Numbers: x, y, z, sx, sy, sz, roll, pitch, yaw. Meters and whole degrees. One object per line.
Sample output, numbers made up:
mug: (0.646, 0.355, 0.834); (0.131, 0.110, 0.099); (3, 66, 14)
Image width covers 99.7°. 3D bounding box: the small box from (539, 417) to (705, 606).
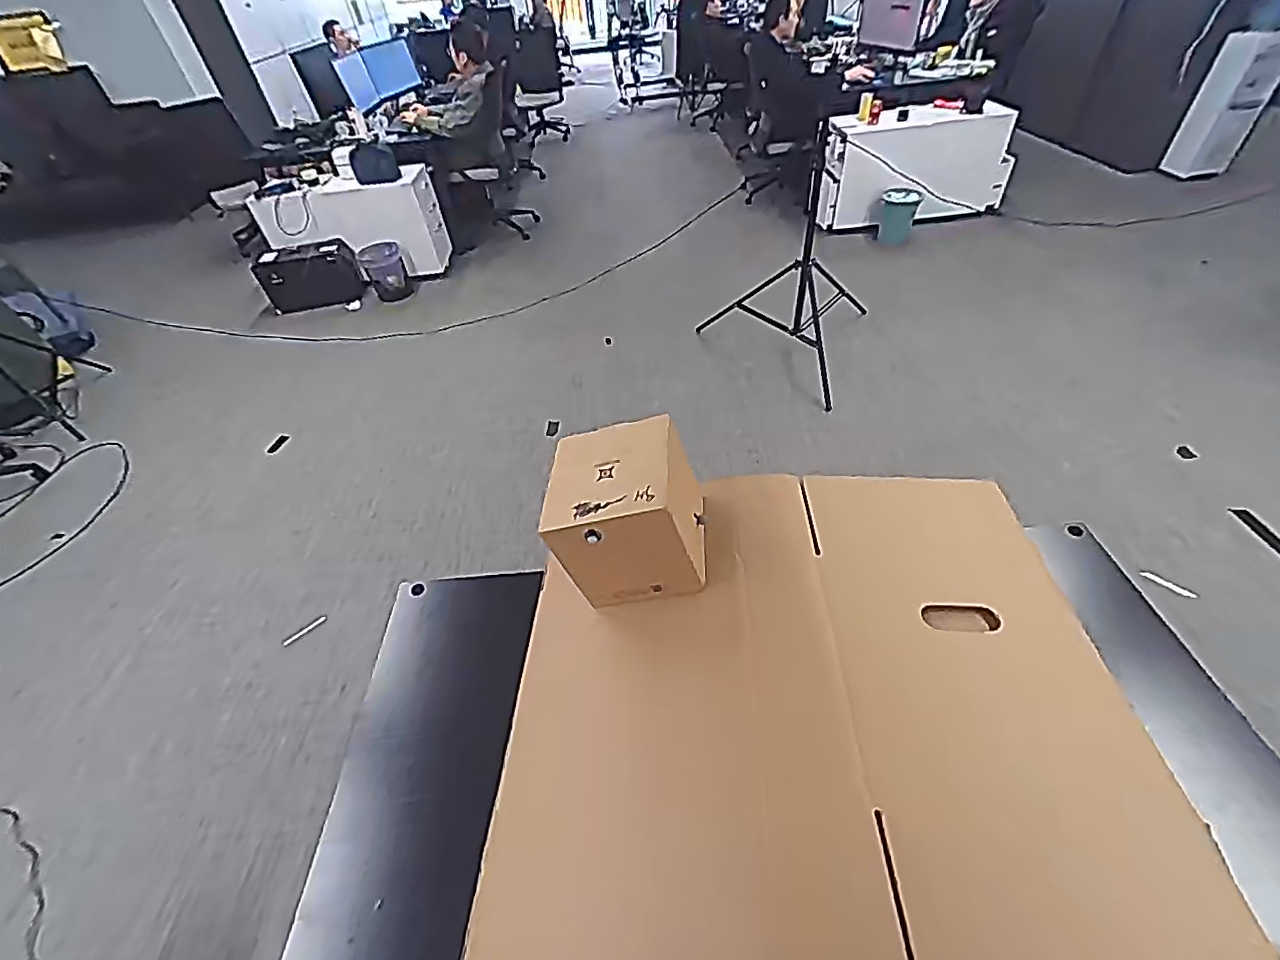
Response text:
small box: (-0.013, 0.045, 0.734); (0.168, 0.176, 0.179); (-13, 41, 16)
